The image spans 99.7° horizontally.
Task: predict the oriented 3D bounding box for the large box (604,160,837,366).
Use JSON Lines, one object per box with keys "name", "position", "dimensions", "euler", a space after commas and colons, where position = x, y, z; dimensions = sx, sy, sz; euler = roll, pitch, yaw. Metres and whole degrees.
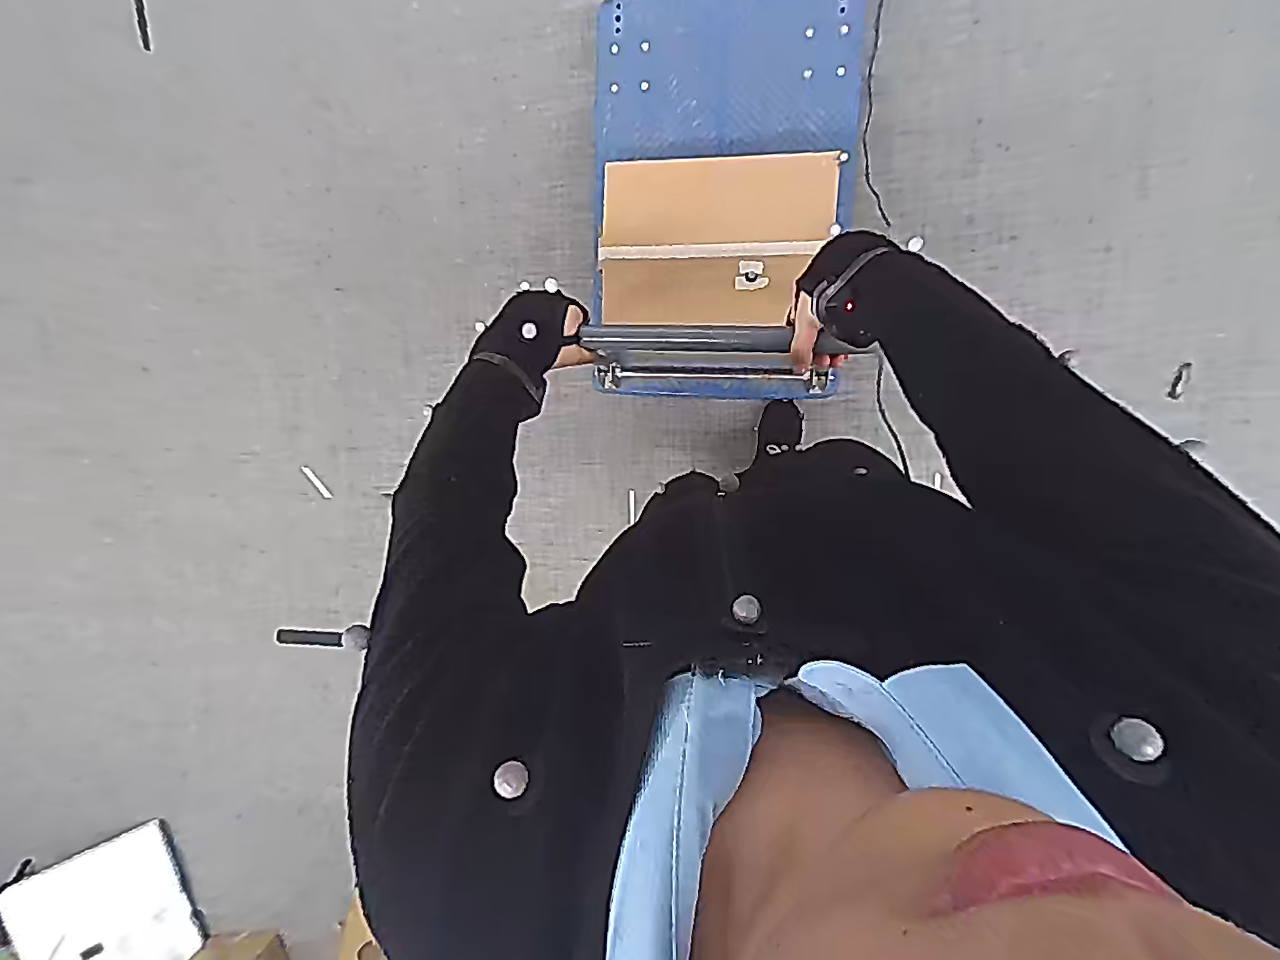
{"name": "large box", "position": [0.153, -0.403, 1.094], "dimensions": [0.408, 0.320, 0.320], "euler": [2, 97, 9]}
